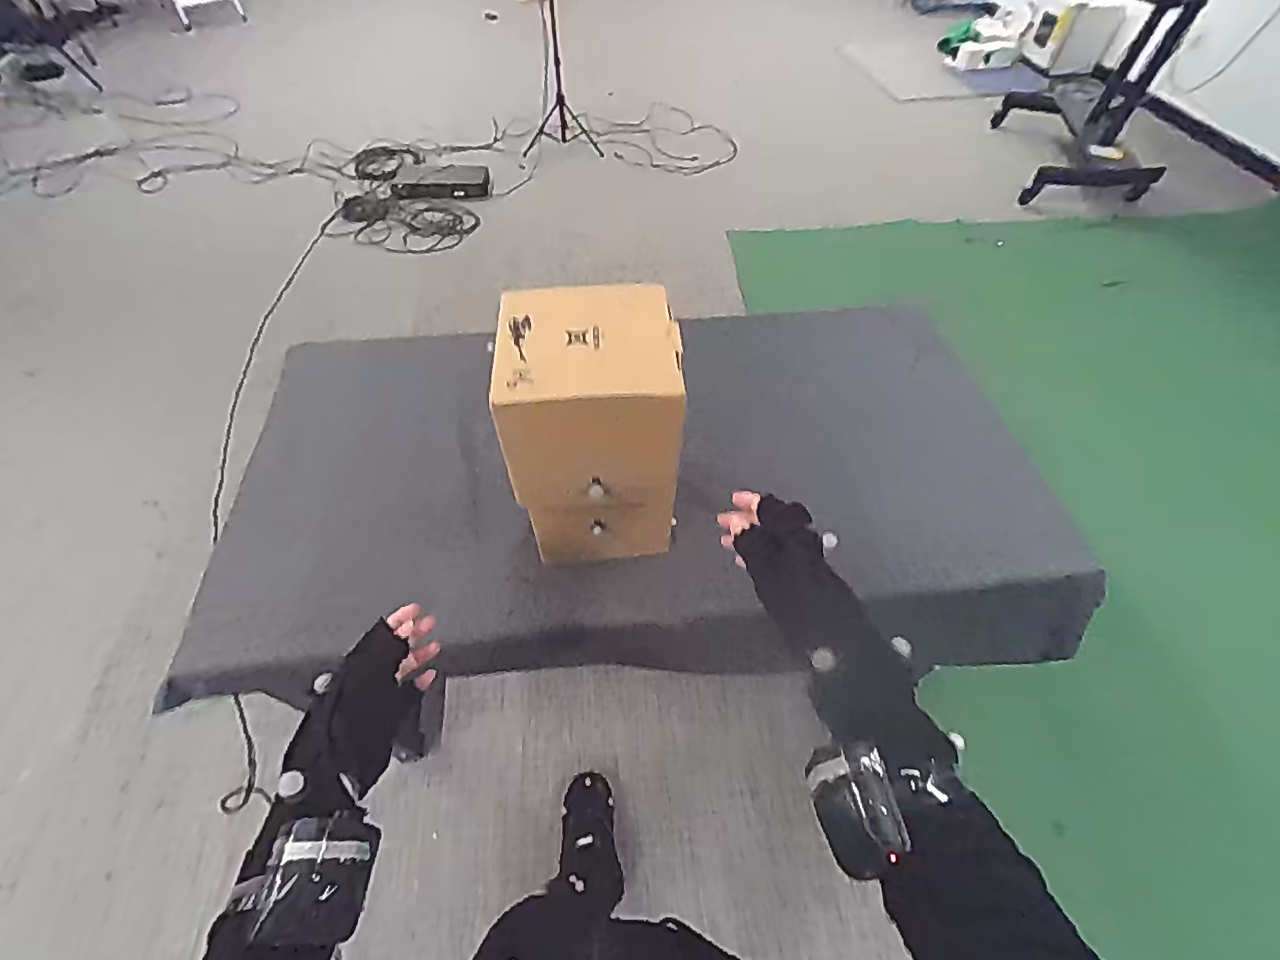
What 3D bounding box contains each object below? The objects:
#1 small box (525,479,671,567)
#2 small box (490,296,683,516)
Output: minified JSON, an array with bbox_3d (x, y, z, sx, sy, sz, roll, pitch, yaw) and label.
[{"bbox_3d":[-0.059,0.003,0.733,0.179,0.176,0.168,-6,53,-4],"label":"small box"},{"bbox_3d":[-0.057,-0.076,0.592,0.179,0.176,0.168,-6,55,-5],"label":"small box"}]
